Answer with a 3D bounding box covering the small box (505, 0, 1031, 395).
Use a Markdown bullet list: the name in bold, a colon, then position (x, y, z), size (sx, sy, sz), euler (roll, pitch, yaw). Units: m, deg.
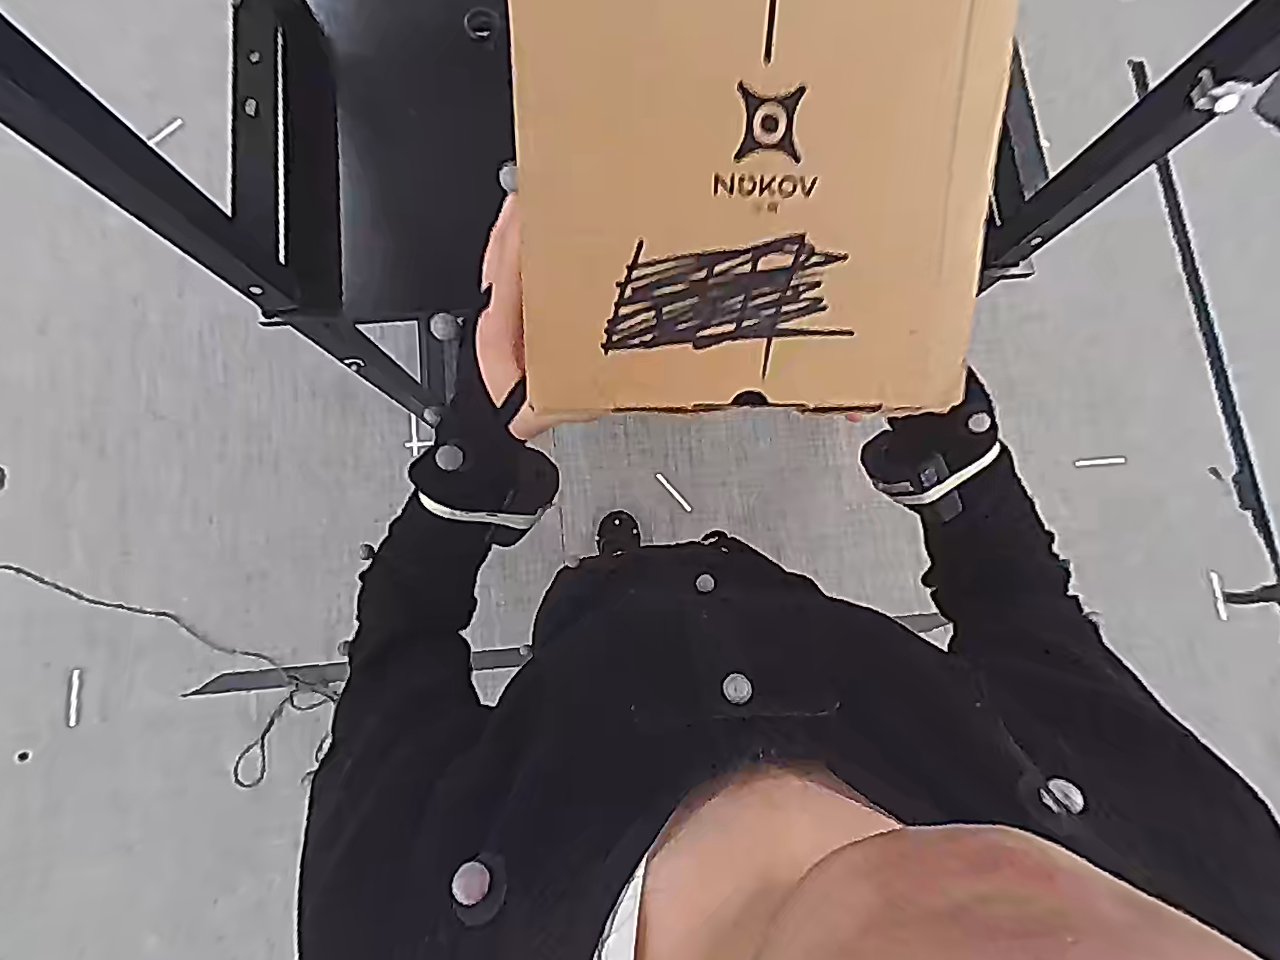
- **small box**: position (0.033, -0.136, 0.251), size (0.168, 0.176, 0.179), euler (-1, 105, -6)
